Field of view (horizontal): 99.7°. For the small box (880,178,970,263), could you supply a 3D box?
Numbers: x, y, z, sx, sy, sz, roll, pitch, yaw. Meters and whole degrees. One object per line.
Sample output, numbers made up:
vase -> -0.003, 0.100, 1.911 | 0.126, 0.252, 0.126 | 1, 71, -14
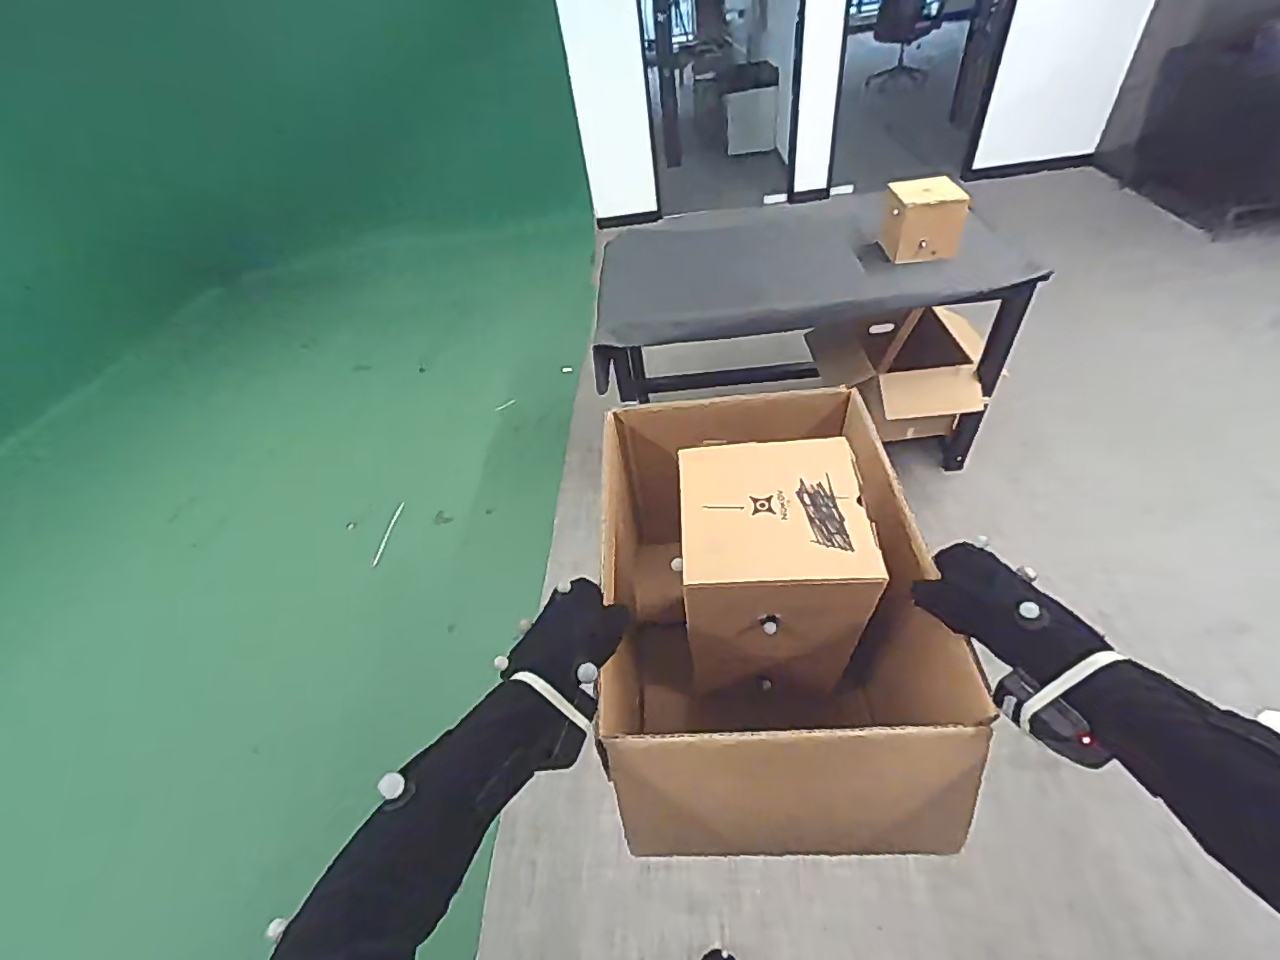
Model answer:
small box -> 0.809, -0.747, 1.559 | 0.168, 0.176, 0.179 | -4, 45, 6
